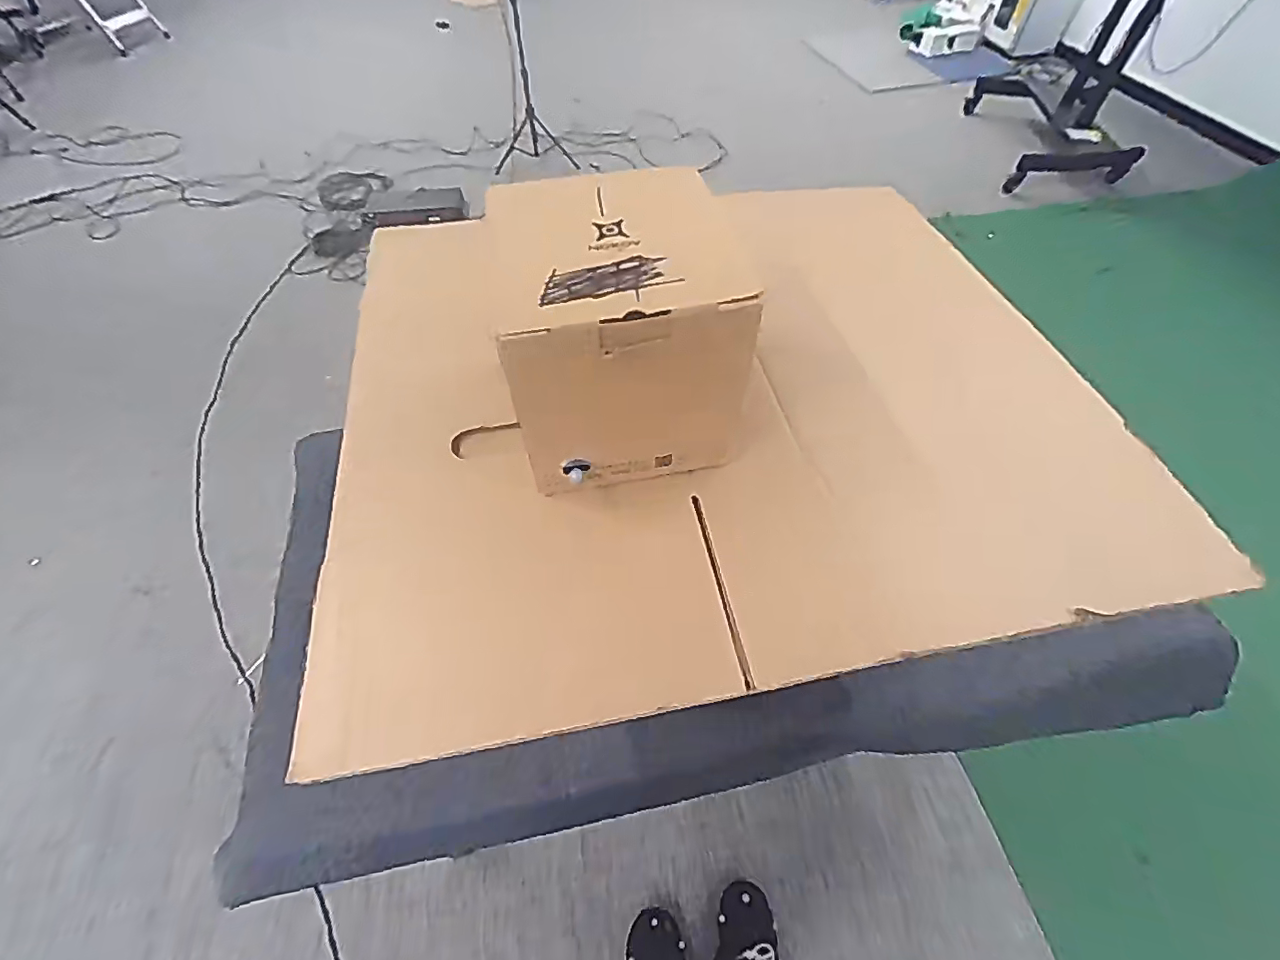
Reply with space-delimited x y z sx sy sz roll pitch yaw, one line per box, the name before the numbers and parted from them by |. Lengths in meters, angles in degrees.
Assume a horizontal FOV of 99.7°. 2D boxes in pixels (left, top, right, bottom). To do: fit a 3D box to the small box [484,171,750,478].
small box | -0.022 -0.116 0.441 0.168 0.176 0.179 -10 55 -6
